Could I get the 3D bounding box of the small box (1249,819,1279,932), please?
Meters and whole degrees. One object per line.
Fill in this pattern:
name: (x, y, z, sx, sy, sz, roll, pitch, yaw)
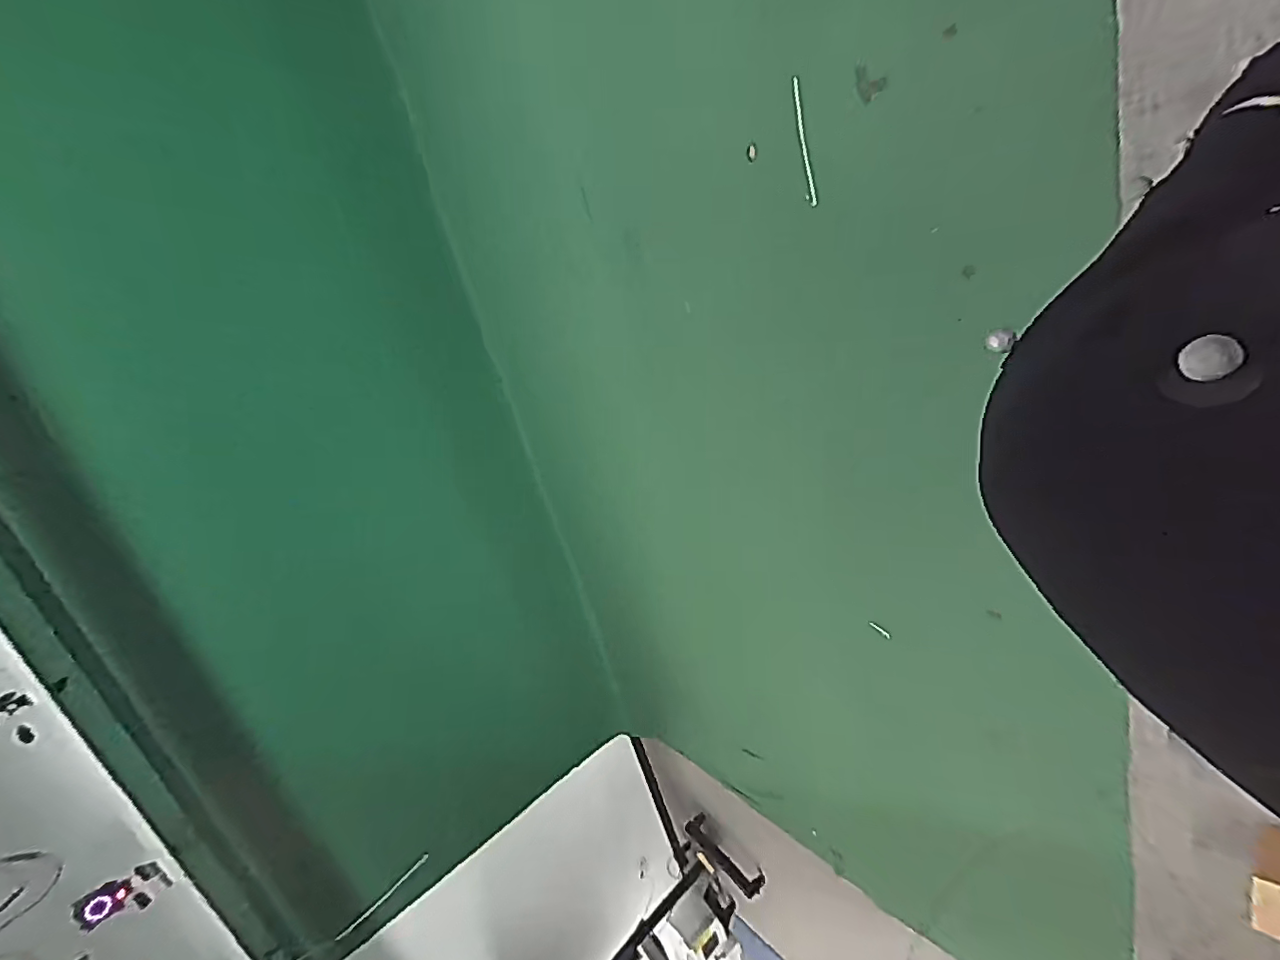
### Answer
small box: (1.518, 0.924, 1.225, 0.168, 0.176, 0.179, 5, 118, 54)
